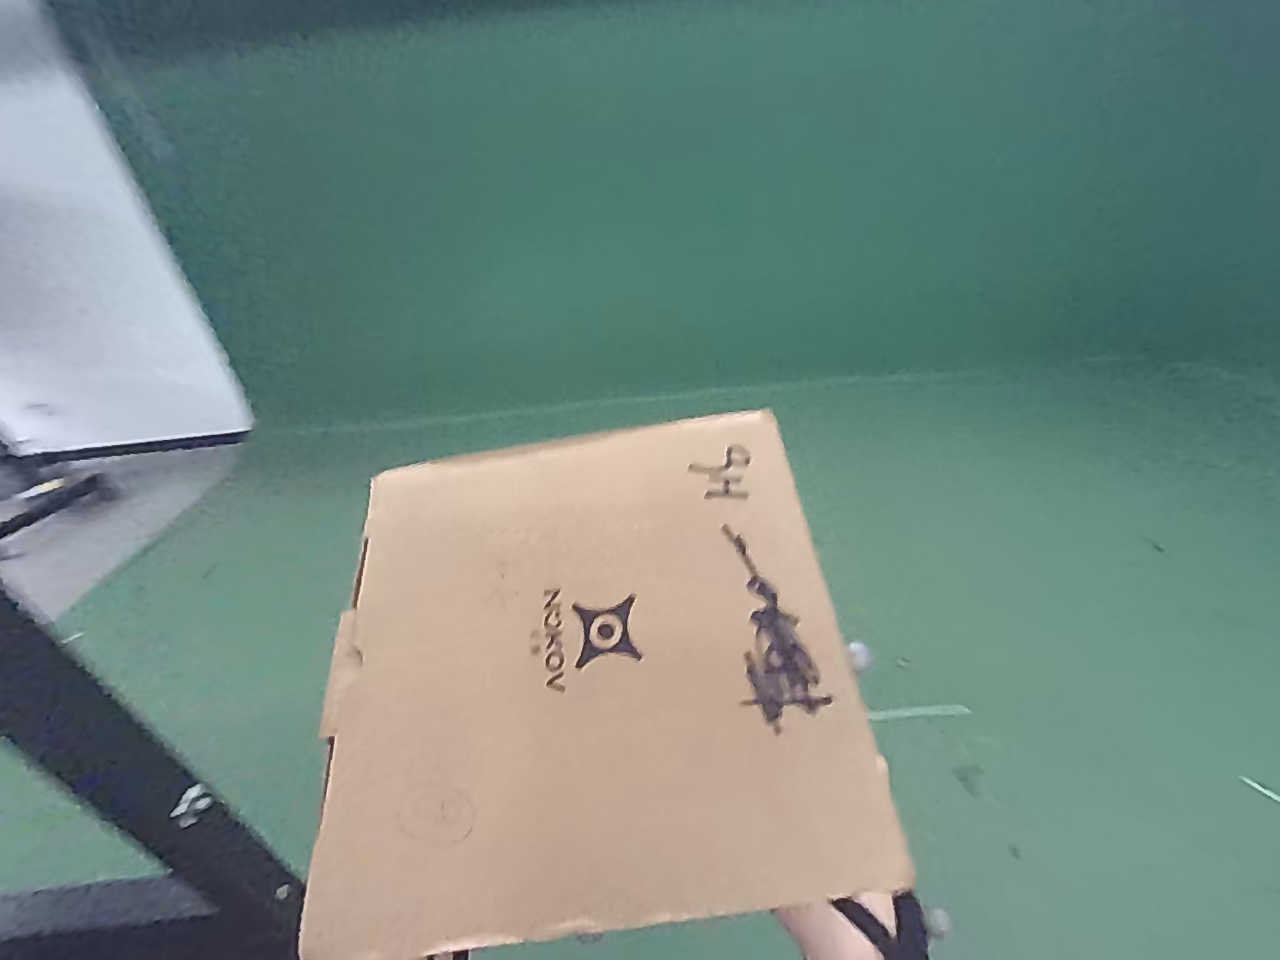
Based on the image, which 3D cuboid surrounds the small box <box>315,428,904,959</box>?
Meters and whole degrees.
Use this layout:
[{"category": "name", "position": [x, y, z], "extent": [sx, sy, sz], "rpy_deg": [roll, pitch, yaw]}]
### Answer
[{"category": "small box", "position": [-0.008, 0.100, 0.261], "extent": [0.179, 0.176, 0.168], "rpy_deg": [-9, 60, 3]}]
